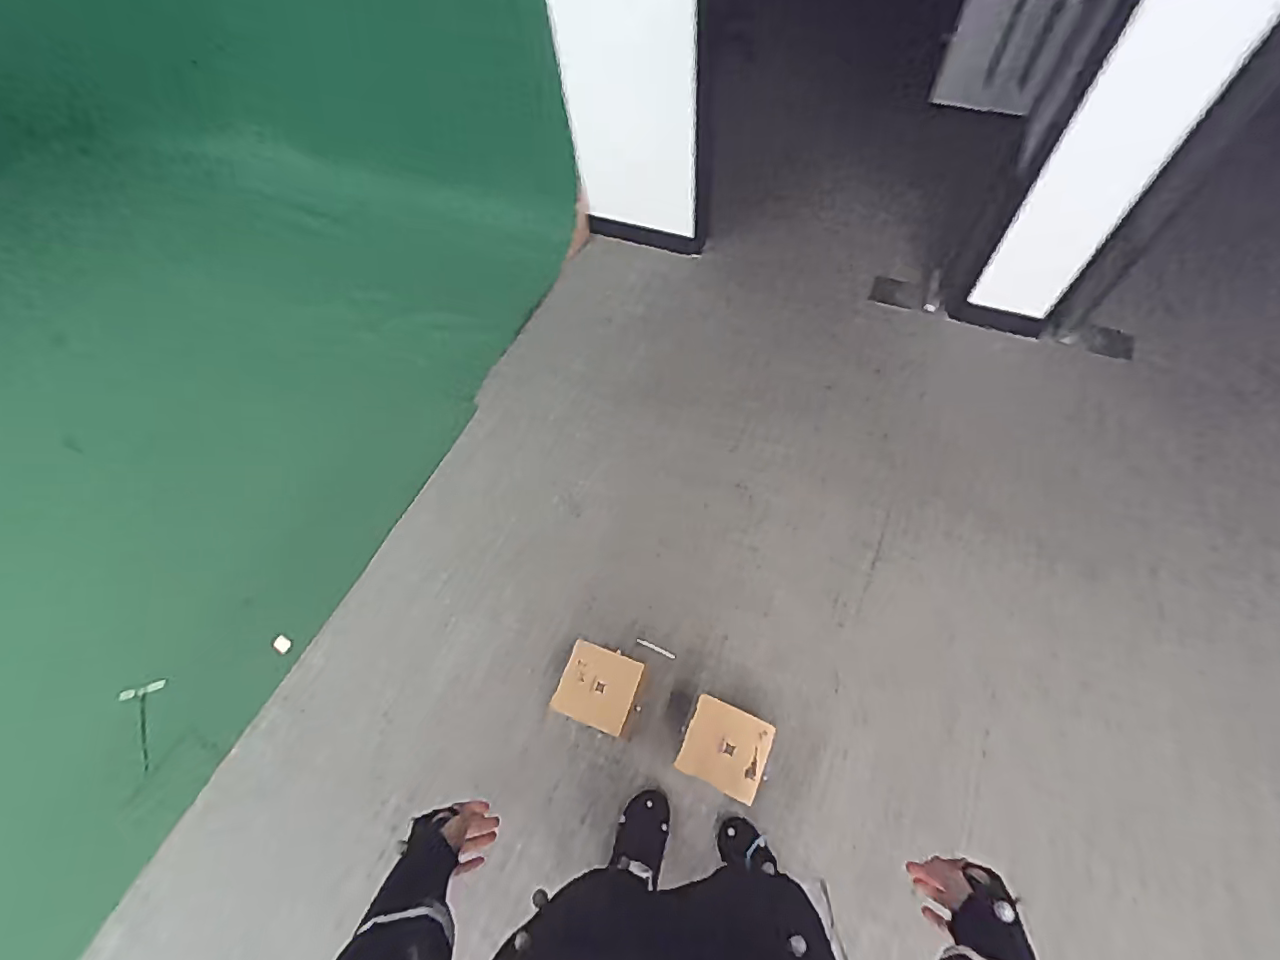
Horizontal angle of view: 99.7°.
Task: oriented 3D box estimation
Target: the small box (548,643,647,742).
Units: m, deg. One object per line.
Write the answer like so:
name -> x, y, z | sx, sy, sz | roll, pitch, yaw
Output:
small box -> -0.093, 0.516, 1.304 | 0.179, 0.176, 0.168 | 17, 64, 15
